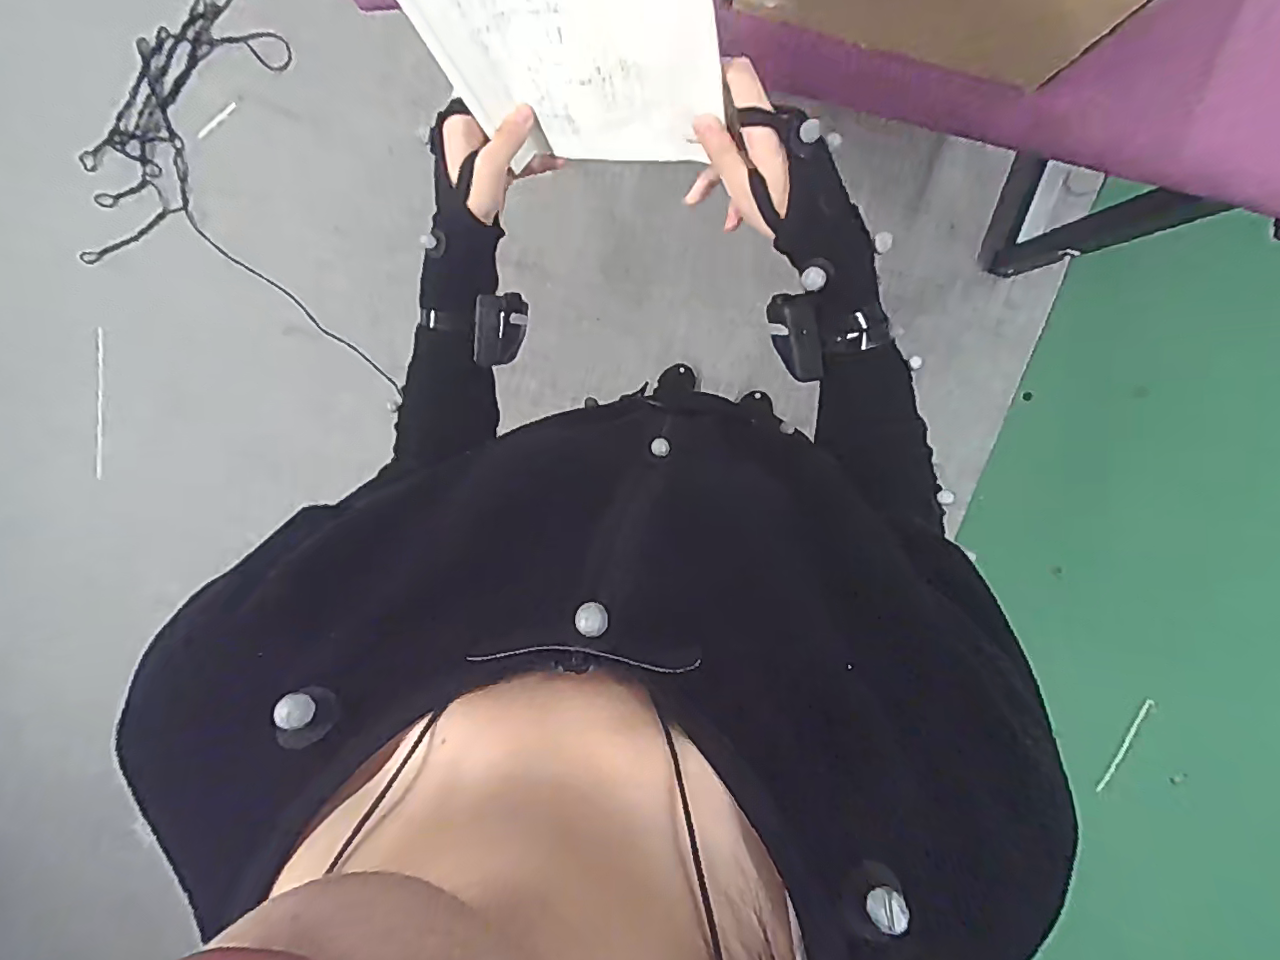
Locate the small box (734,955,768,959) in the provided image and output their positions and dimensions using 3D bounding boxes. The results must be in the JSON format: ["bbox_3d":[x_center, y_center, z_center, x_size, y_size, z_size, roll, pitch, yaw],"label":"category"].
[{"bbox_3d":[0.321,1.345,1.353,0.179,0.176,0.168,5,100,5],"label":"small box"}]

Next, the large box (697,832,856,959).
[{"bbox_3d":[0.374,1.298,1.589,0.408,0.320,0.320,2,102,4],"label":"large box"}]
